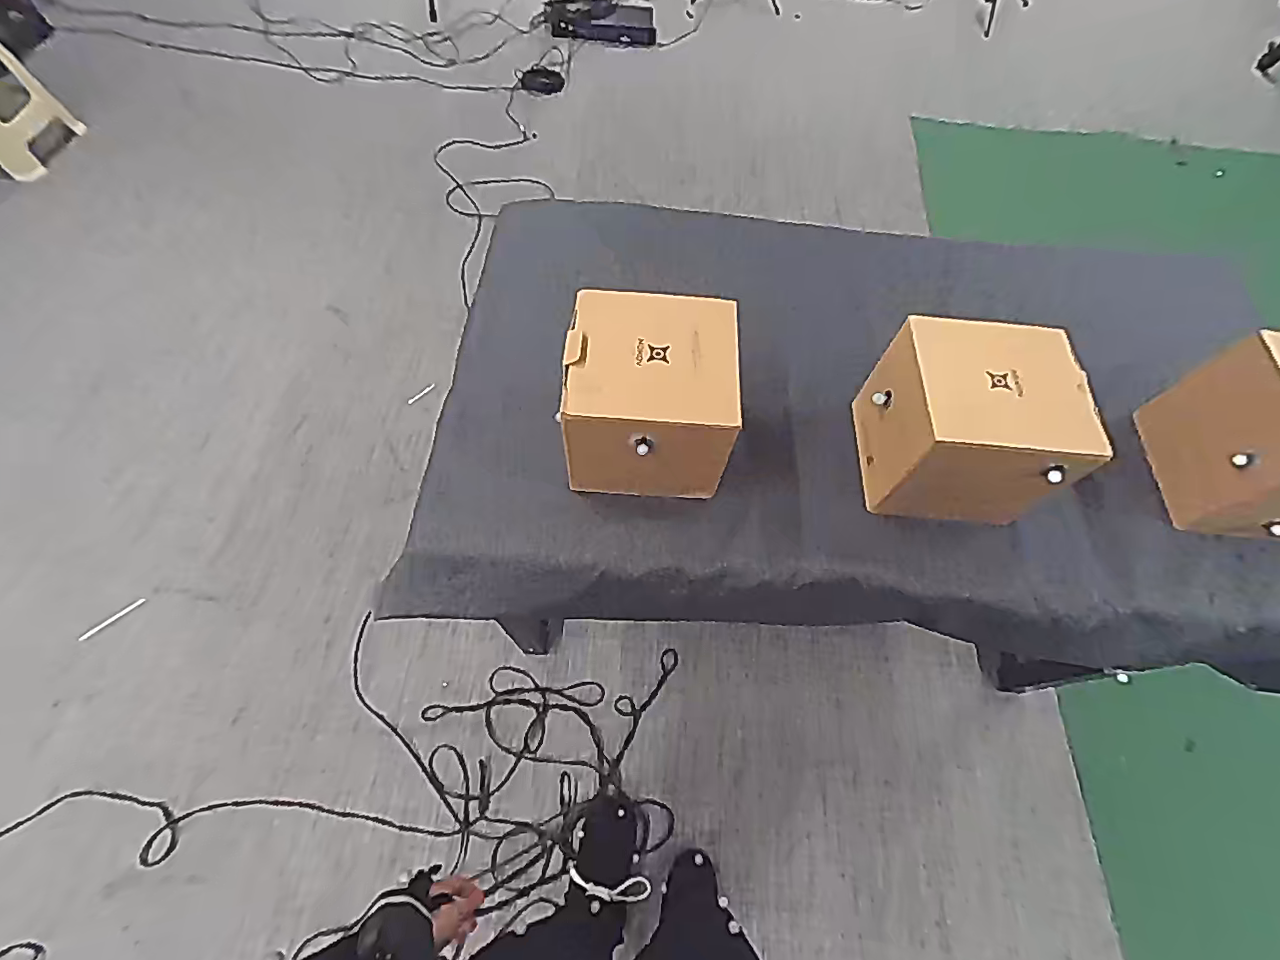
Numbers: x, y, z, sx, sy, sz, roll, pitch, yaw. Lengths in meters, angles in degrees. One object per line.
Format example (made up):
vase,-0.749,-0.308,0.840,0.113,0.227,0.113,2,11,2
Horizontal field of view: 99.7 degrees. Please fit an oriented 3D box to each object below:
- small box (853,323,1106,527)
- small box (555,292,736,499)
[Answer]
small box,0.363,-0.056,0.624,0.179,0.176,0.168,5,61,-1
small box,0.006,-0.088,0.619,0.179,0.176,0.168,5,63,-2
